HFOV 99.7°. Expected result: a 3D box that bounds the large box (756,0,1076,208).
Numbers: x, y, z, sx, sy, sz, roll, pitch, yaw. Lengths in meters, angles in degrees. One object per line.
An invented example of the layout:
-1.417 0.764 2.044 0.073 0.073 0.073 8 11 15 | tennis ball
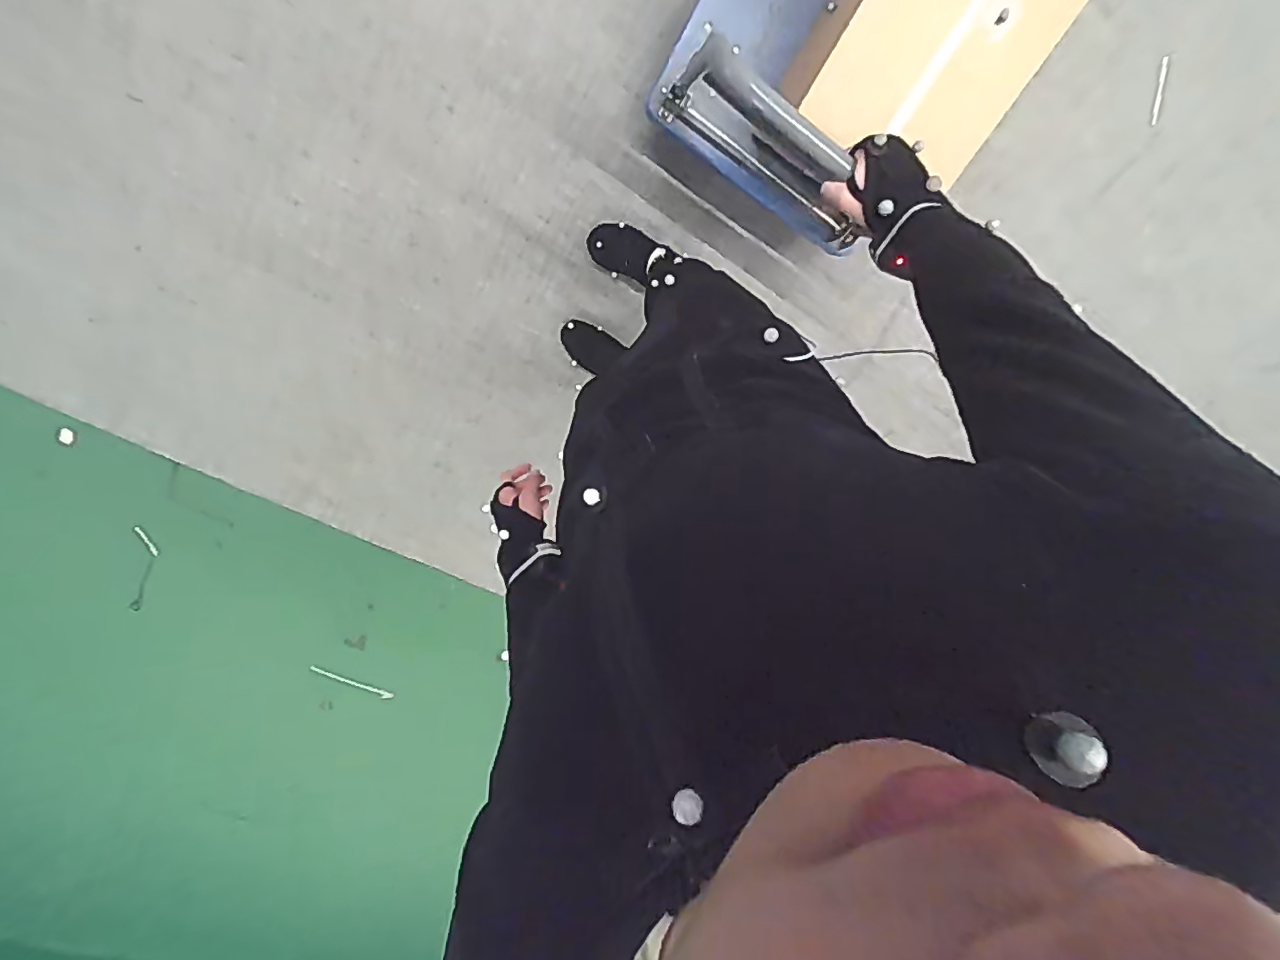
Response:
0.476 -0.773 0.994 0.320 0.320 0.408 26 113 -17 | large box
